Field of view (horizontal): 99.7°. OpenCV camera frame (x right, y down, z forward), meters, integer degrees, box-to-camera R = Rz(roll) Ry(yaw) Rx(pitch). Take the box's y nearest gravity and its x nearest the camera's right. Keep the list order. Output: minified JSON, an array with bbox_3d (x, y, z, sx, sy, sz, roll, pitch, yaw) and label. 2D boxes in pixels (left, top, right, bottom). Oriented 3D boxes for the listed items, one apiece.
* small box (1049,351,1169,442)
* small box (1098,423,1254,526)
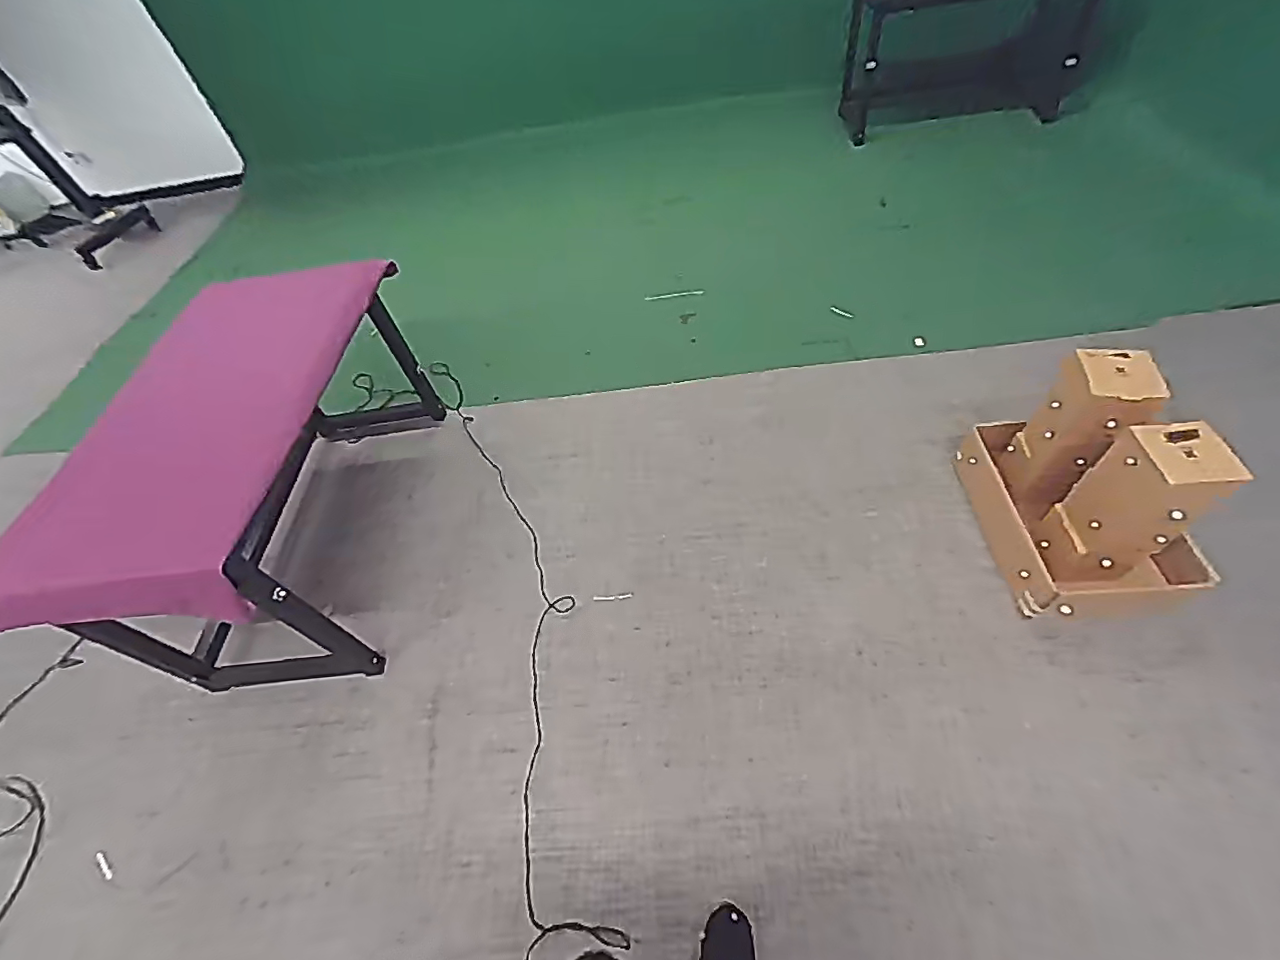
[{"bbox_3d":[1.228,-0.219,1.432,0.168,0.176,0.179,6,56,13],"label":"small box"},{"bbox_3d":[1.239,-0.010,1.272,0.168,0.176,0.179,-4,52,7],"label":"small box"}]
